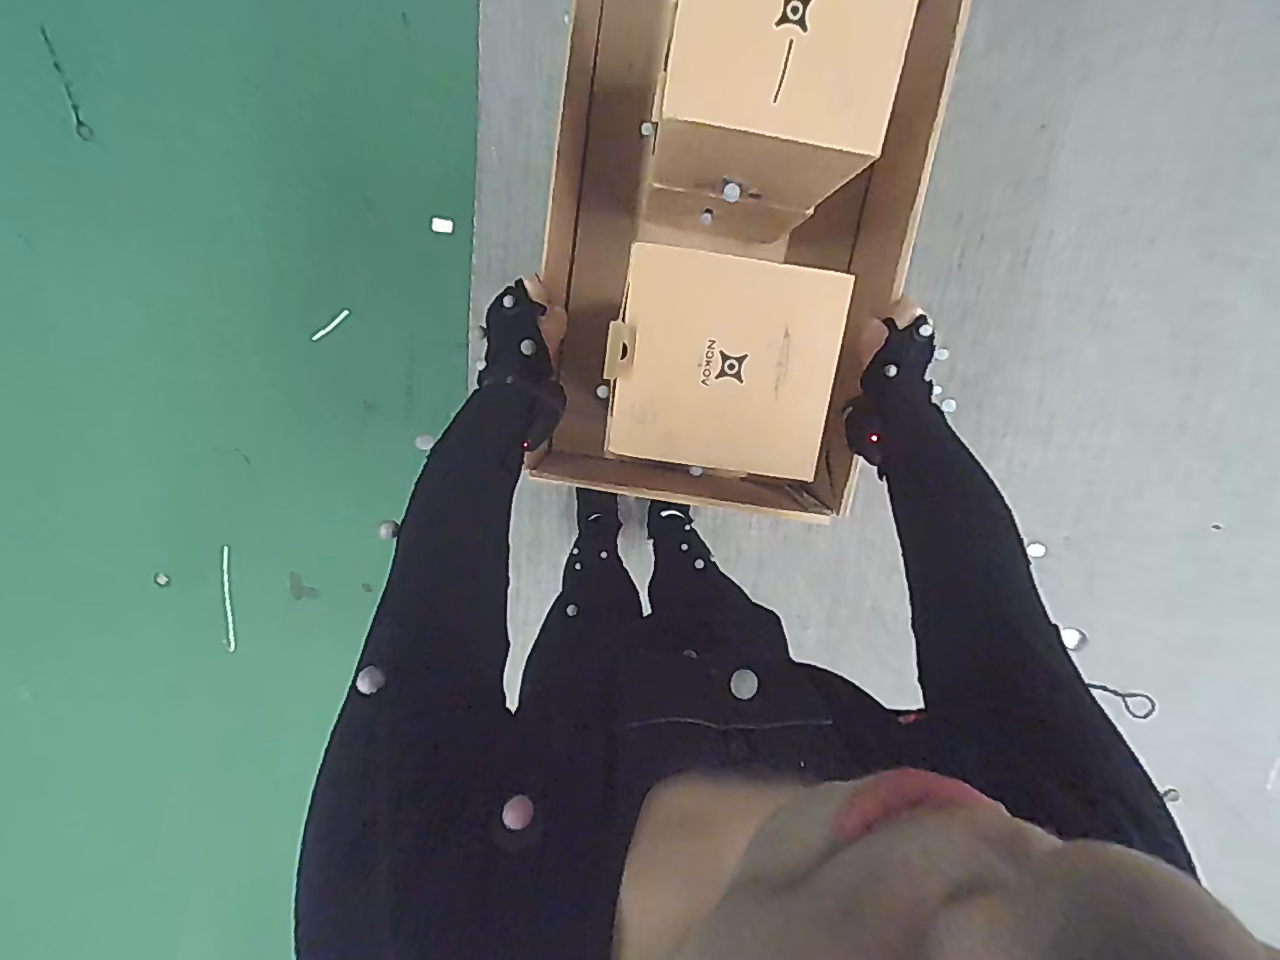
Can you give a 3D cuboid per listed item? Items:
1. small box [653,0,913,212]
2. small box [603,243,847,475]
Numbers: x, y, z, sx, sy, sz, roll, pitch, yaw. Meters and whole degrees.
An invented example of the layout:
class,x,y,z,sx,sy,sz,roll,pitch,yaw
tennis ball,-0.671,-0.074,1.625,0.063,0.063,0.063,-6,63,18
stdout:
class,x,y,z,sx,sy,sz,roll,pitch,yaw
small box,0.107,-0.352,0.459,0.168,0.176,0.179,10,105,-4
small box,0.064,-0.110,0.515,0.179,0.176,0.168,7,102,-4
